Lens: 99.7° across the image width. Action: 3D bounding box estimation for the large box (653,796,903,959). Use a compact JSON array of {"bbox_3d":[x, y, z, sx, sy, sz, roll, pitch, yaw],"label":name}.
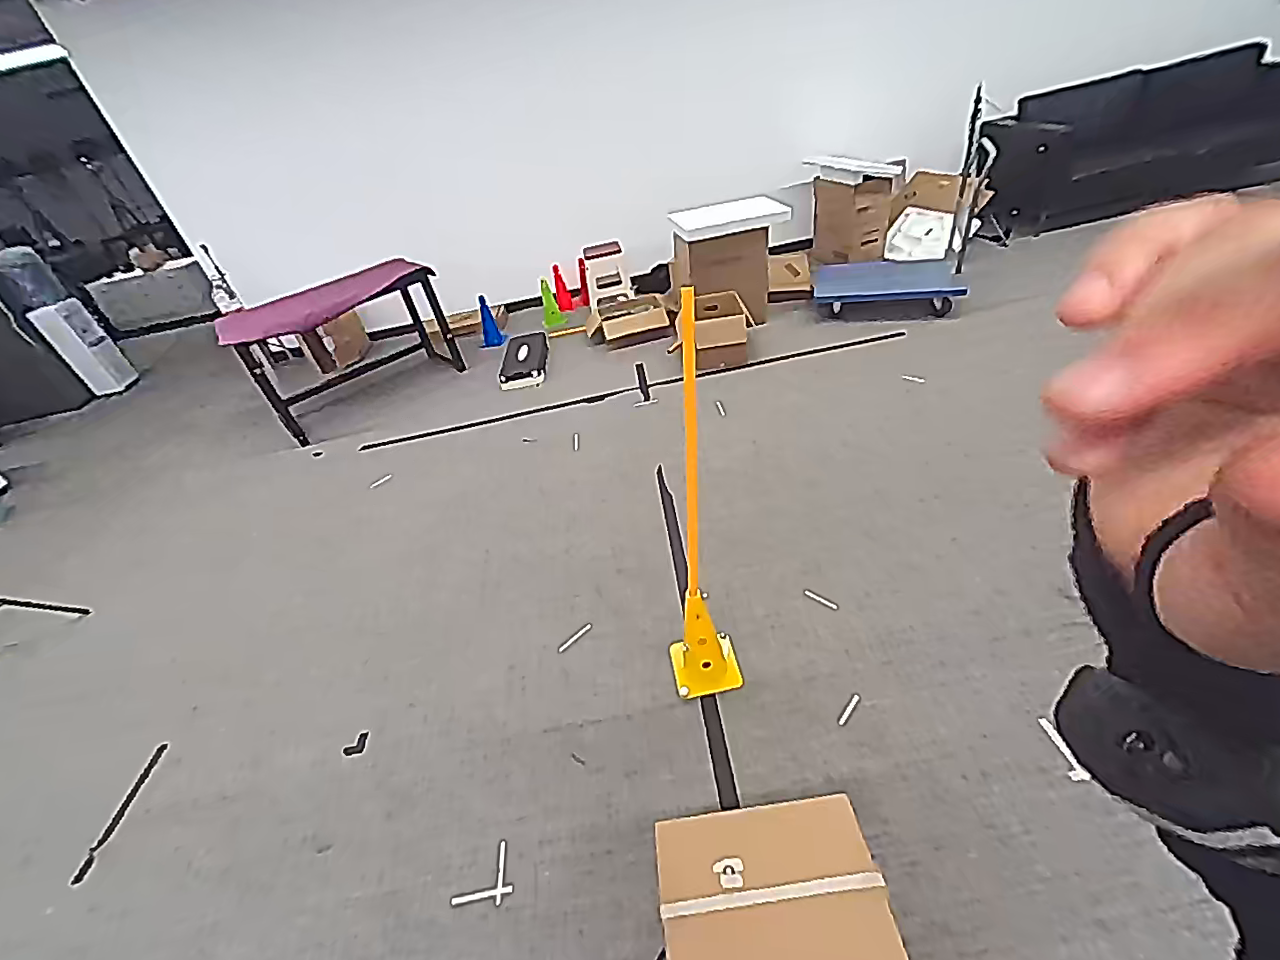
[{"bbox_3d":[0.259,0.895,1.082,0.408,0.320,0.320,-10,34,1],"label":"large box"}]
